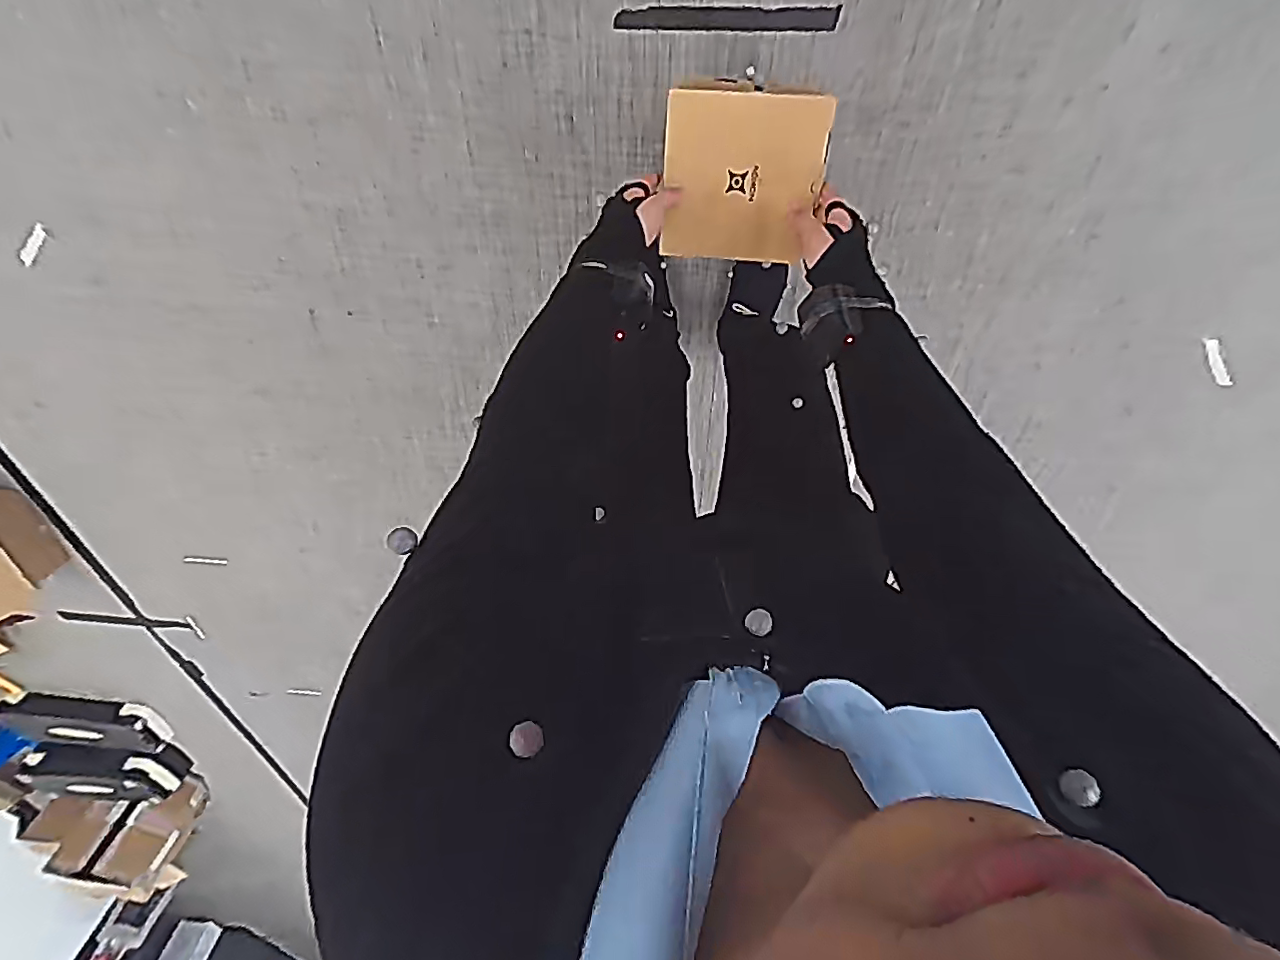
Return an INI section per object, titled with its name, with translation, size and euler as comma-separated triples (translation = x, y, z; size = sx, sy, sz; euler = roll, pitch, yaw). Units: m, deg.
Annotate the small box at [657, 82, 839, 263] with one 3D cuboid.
[small box]
translation = 0.117, -0.376, 0.655
size = 0.179, 0.176, 0.168
euler = 4, 128, 2
